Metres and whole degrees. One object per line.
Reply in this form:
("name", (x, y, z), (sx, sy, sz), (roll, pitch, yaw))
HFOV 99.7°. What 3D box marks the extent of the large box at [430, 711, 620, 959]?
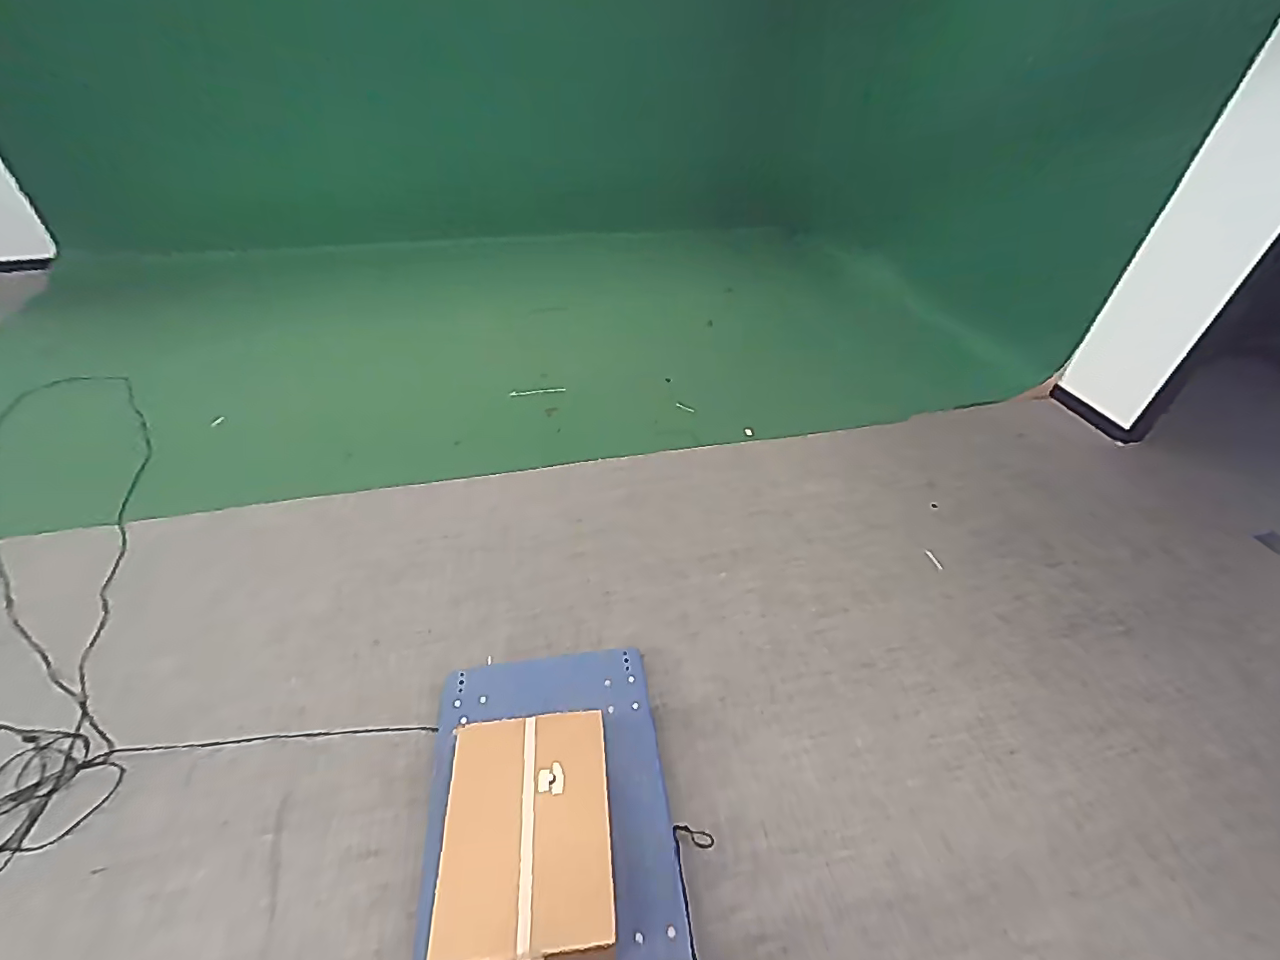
("large box", (-0.214, 0.760, 1.124), (0.320, 0.320, 0.408), (-3, 42, -6))
